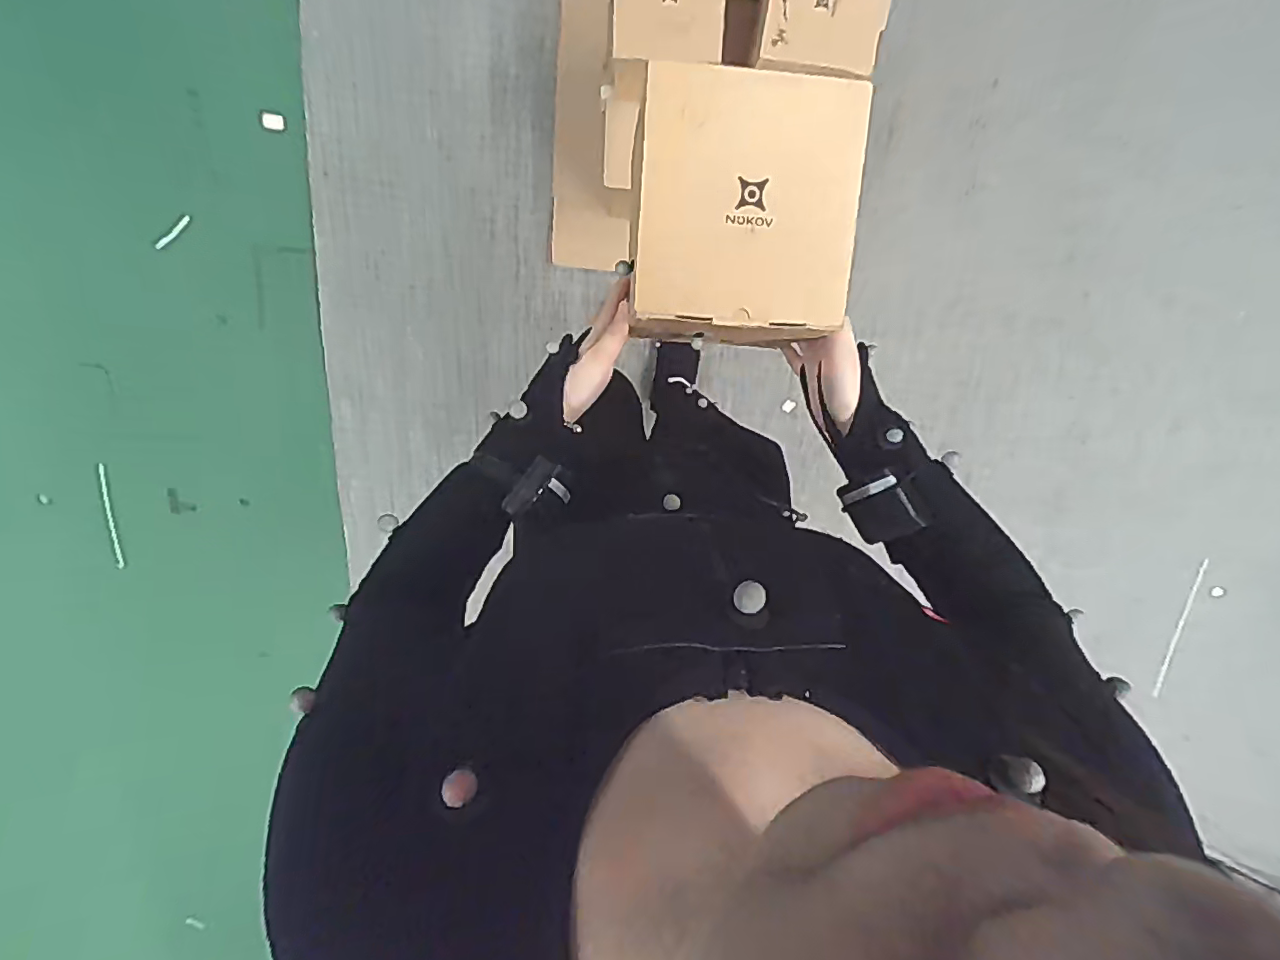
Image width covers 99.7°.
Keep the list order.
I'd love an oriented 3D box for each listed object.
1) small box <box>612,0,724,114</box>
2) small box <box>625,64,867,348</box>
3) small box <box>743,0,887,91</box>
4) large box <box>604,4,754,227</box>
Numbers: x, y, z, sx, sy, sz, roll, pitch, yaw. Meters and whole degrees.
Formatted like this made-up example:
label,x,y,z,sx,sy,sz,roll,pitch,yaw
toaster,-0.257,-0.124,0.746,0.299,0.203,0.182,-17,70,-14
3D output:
label,x,y,z,sx,sy,sz,roll,pitch,yaw
small box,0.041,-0.720,0.870,0.168,0.176,0.179,1,105,-1
small box,0.075,-0.218,0.479,0.168,0.176,0.179,2,99,-5
small box,0.272,-0.704,0.873,0.179,0.176,0.168,9,105,-2
large box,0.130,-0.712,1.125,0.408,0.320,0.320,3,106,-2
